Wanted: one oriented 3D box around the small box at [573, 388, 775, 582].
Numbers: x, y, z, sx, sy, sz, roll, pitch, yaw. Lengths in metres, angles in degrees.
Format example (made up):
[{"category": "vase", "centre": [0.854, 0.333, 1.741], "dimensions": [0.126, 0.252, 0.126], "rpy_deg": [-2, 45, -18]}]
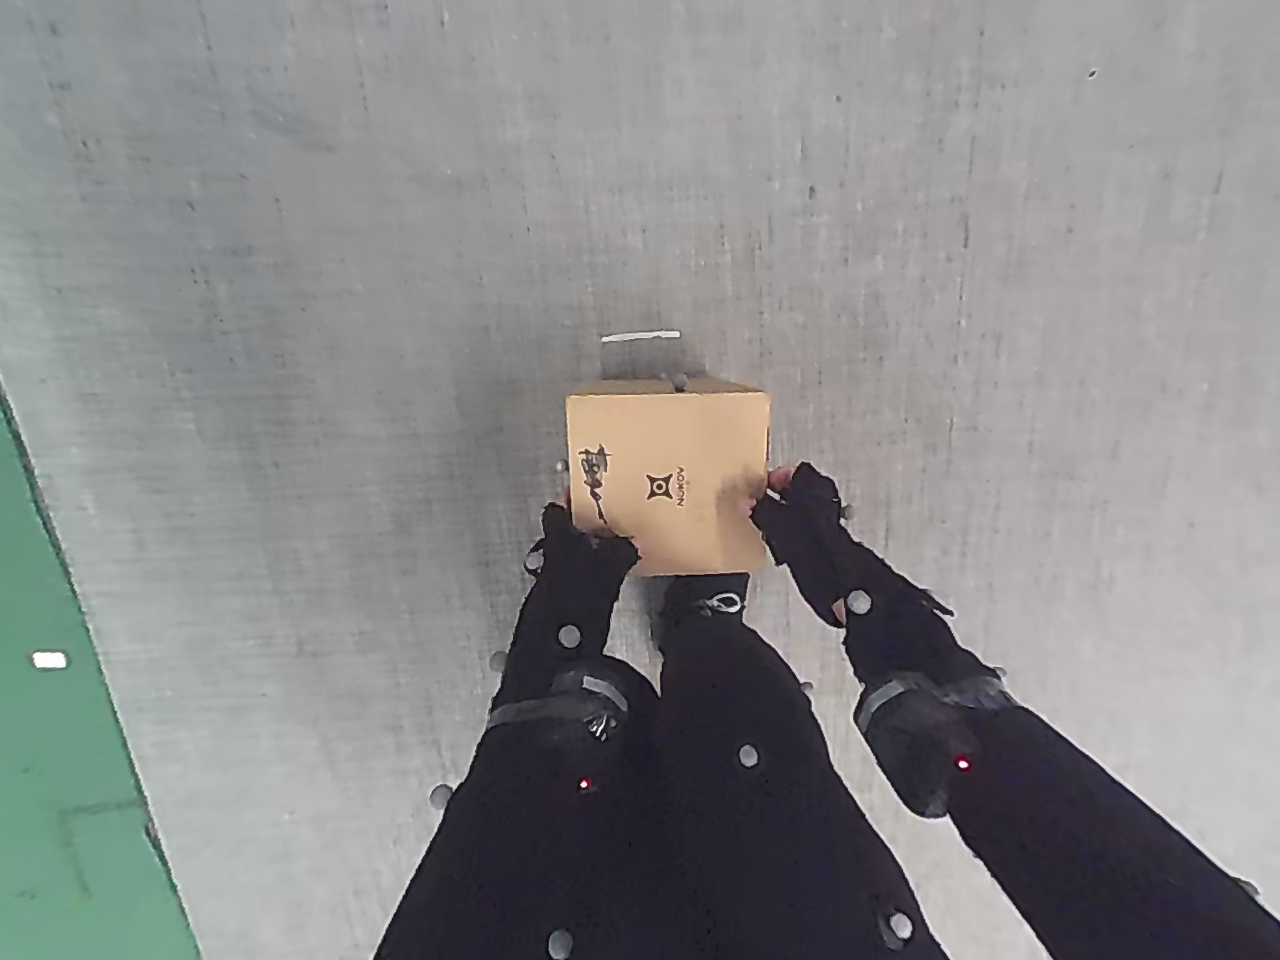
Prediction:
[{"category": "small box", "centre": [0.026, -0.006, 0.556], "dimensions": [0.179, 0.176, 0.168], "rpy_deg": [-1, 103, -1]}]
